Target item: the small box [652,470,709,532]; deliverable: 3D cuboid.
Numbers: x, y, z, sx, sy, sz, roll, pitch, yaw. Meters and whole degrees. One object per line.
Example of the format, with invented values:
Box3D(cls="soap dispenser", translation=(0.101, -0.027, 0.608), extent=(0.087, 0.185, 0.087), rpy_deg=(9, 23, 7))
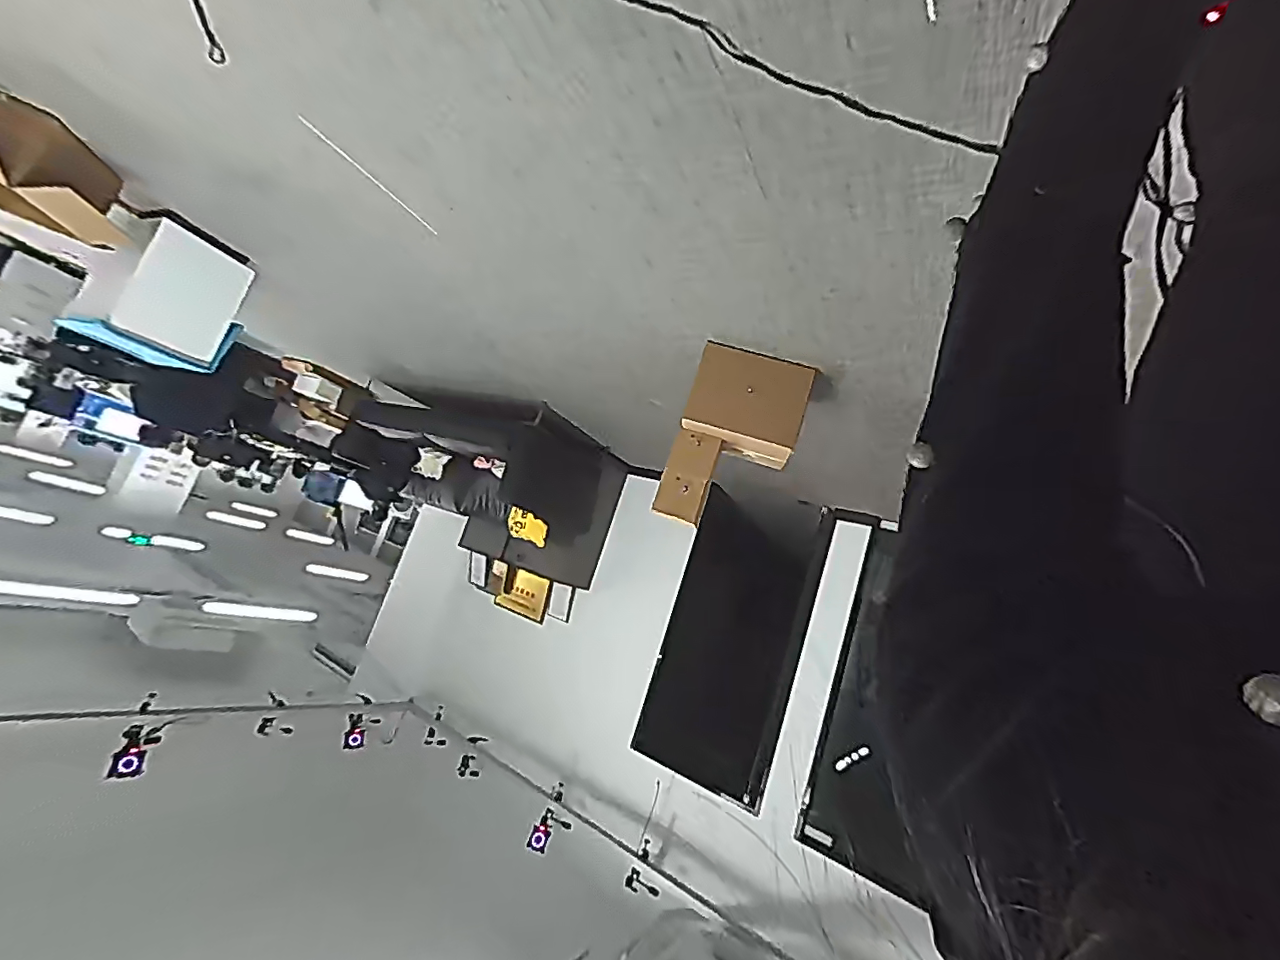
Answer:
Box3D(cls="small box", translation=(0.157, 0.079, 2.022), extent=(0.168, 0.176, 0.179), rpy_deg=(17, 169, 13))
